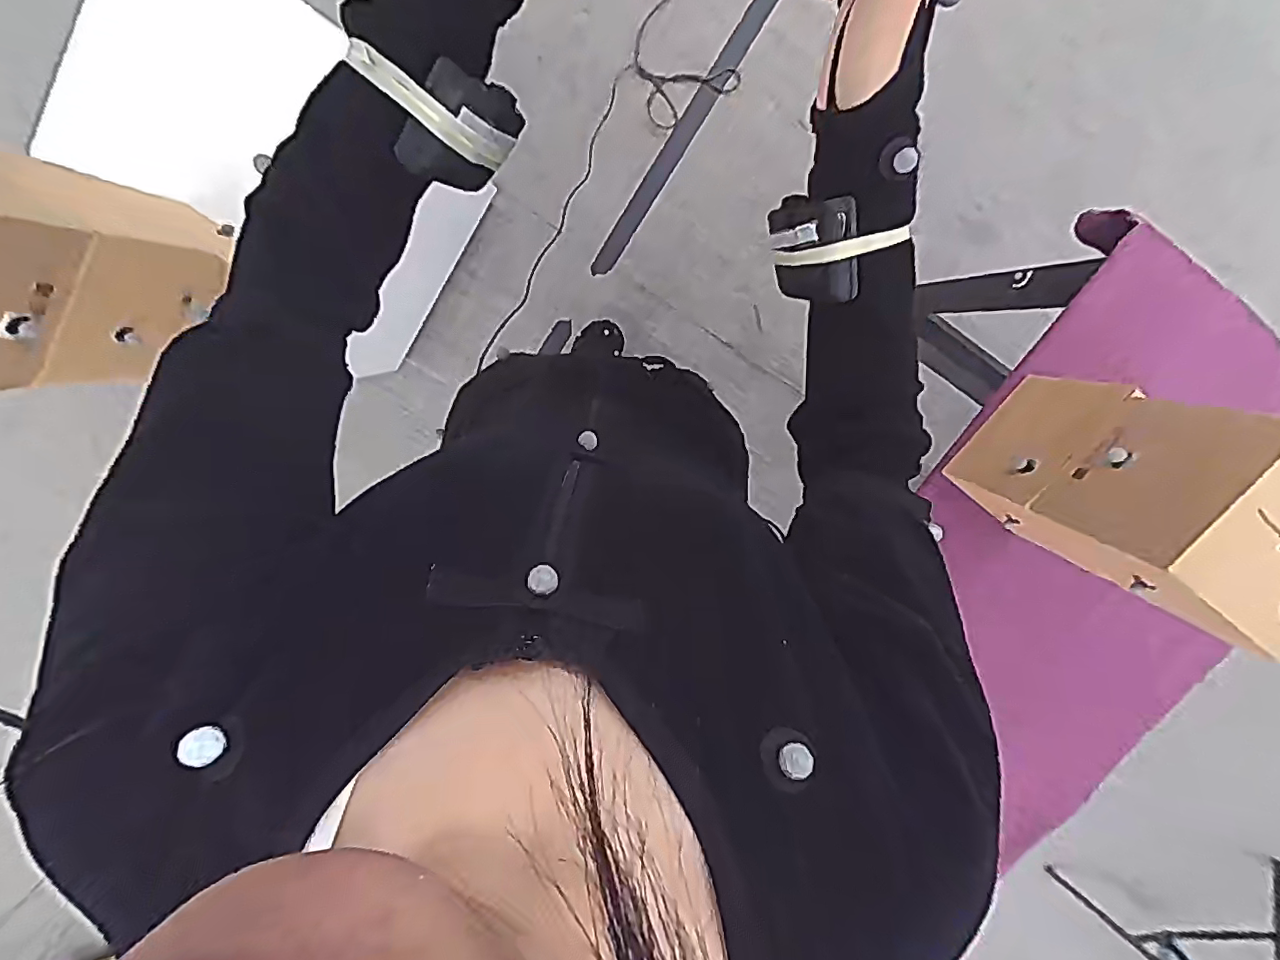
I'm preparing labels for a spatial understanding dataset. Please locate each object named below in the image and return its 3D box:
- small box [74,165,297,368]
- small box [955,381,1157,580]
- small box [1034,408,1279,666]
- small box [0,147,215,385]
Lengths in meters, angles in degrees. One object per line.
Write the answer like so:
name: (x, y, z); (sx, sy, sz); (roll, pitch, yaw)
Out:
small box: (-0.609, -0.264, 0.711); (0.179, 0.176, 0.168); (33, 101, -10)
small box: (0.554, -0.009, 0.704); (0.168, 0.176, 0.179); (36, 100, -12)
small box: (0.568, 0.043, 0.549); (0.179, 0.176, 0.168); (35, 101, -11)
small box: (-0.598, -0.220, 0.555); (0.179, 0.176, 0.168); (32, 101, -10)
